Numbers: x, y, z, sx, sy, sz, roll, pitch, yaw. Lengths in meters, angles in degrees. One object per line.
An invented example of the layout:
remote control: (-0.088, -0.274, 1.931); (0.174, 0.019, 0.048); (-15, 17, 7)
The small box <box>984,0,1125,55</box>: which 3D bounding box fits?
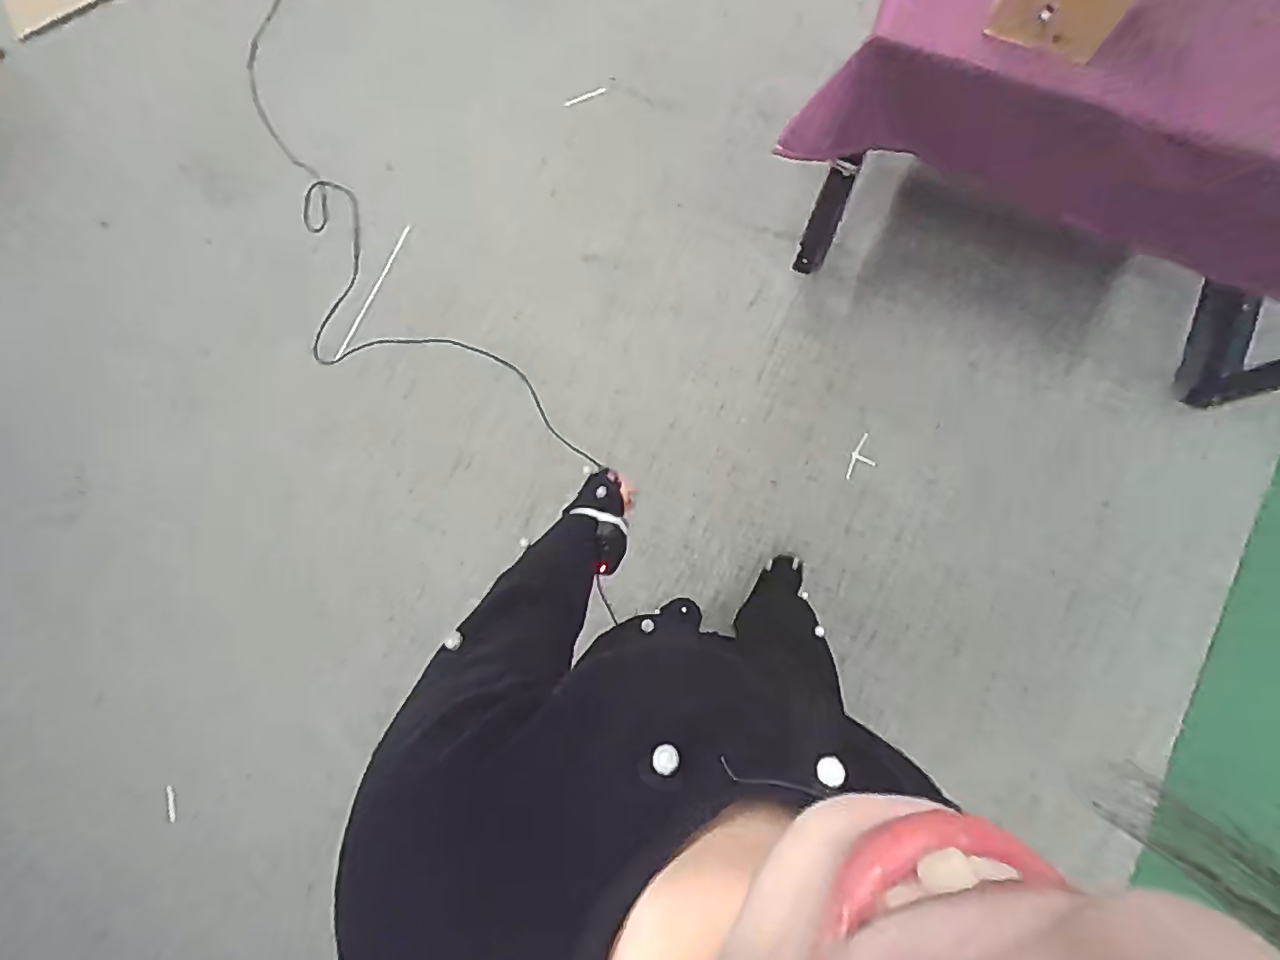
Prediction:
small box: (0.641, -0.779, 0.781); (0.168, 0.176, 0.179); (23, 84, 7)
